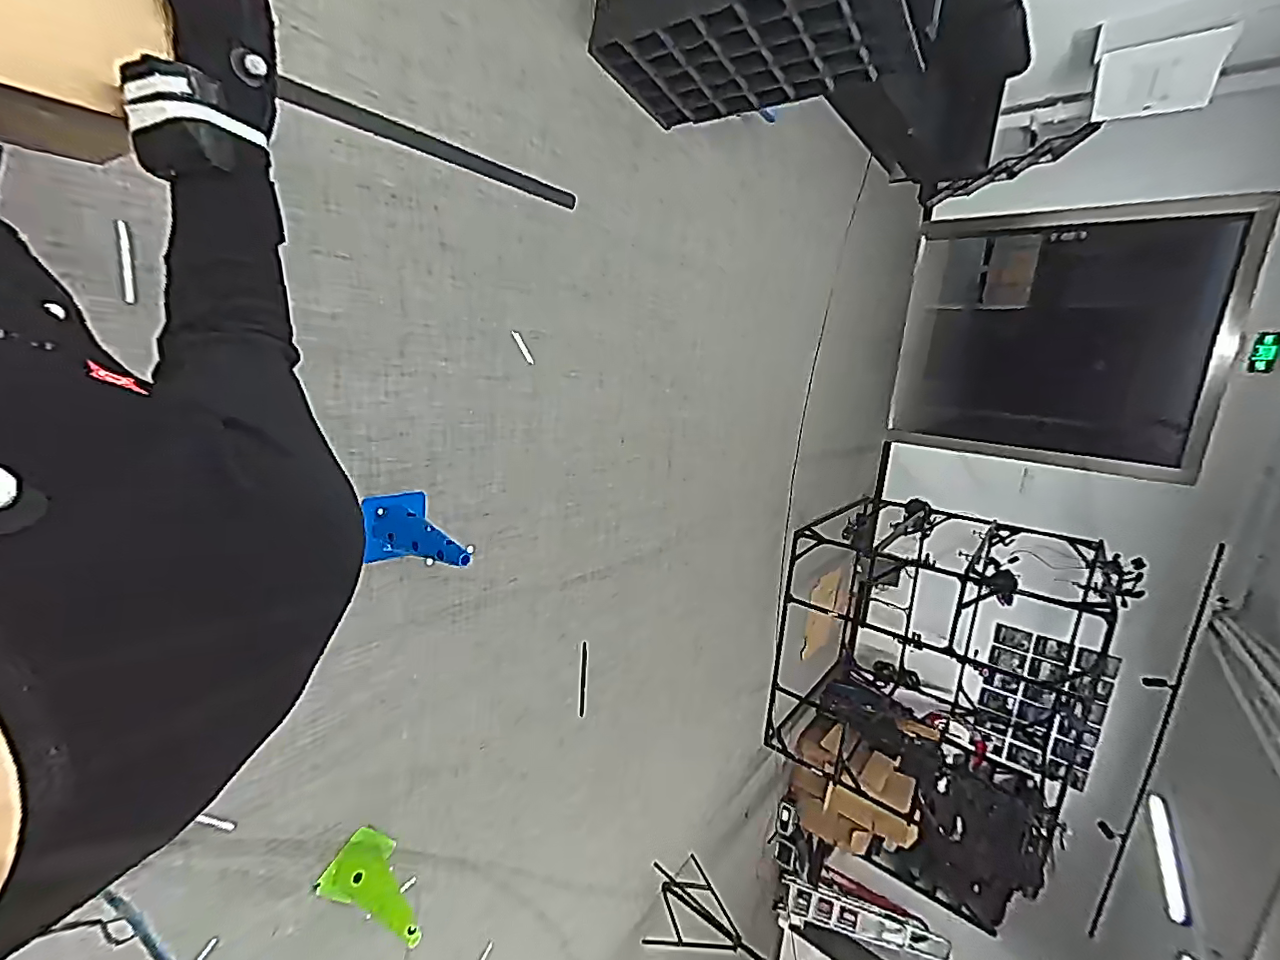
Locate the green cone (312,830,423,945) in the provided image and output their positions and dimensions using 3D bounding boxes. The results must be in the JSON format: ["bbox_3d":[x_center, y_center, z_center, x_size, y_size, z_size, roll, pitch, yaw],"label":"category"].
[{"bbox_3d":[-0.783,1.281,1.642,0.202,0.368,0.200,-54,139,-31],"label":"green cone"}]

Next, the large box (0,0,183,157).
[{"bbox_3d":[-0.564,-0.421,0.297,0.408,0.320,0.320,-12,115,-52],"label":"large box"}]

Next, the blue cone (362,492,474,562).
[{"bbox_3d":[-0.611,0.167,1.535,0.192,0.380,0.193,-7,107,-54],"label":"blue cone"}]
